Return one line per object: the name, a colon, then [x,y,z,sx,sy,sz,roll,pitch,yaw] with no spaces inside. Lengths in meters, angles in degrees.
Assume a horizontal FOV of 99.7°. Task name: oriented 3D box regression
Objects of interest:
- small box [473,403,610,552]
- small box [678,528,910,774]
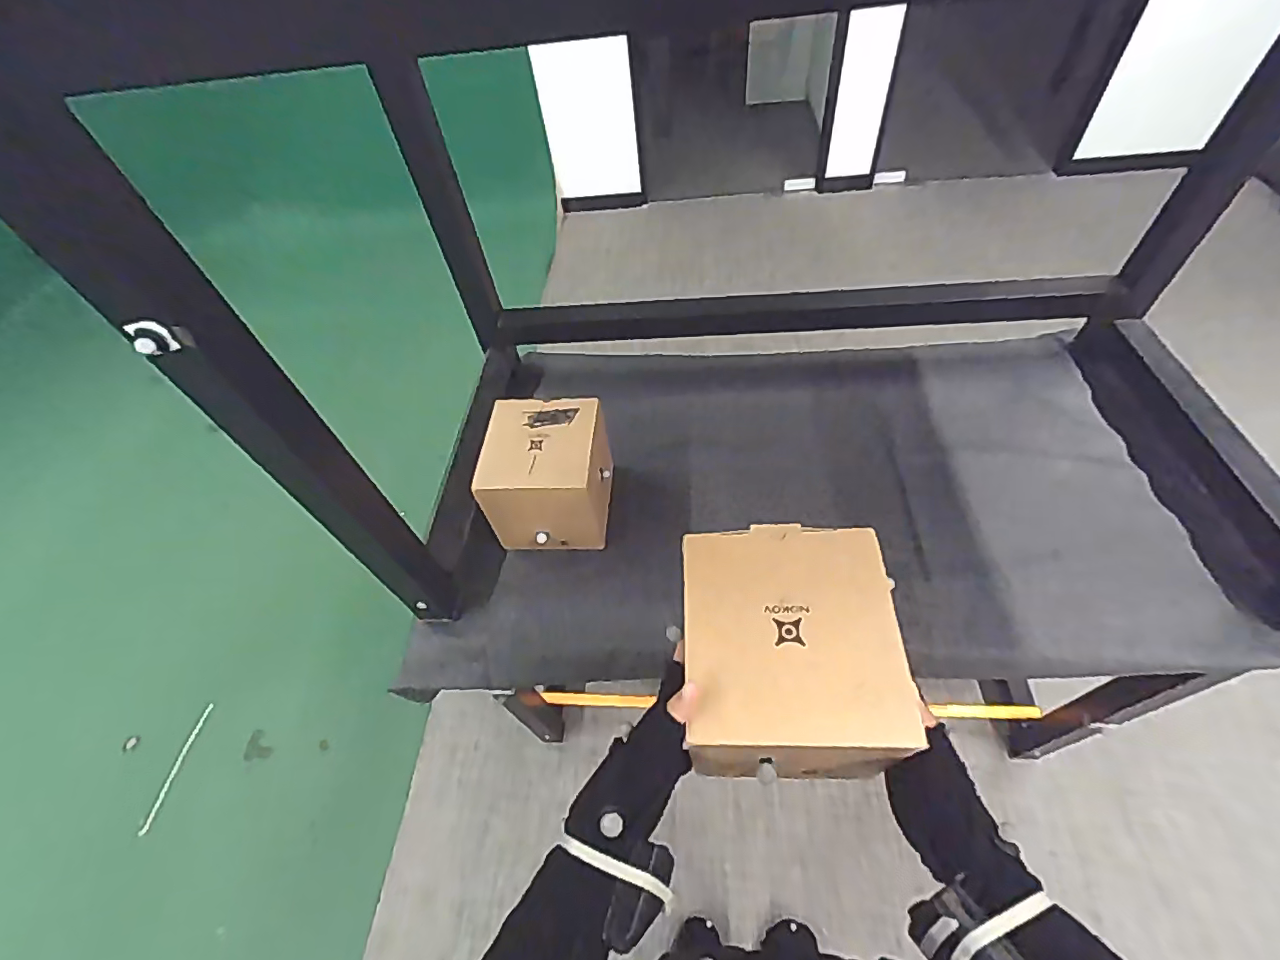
small box: [-0.142,-0.003,0.861,0.168,0.176,0.179,-1,53,6]
small box: [0.124,0.163,0.499,0.168,0.176,0.179,-3,53,7]
